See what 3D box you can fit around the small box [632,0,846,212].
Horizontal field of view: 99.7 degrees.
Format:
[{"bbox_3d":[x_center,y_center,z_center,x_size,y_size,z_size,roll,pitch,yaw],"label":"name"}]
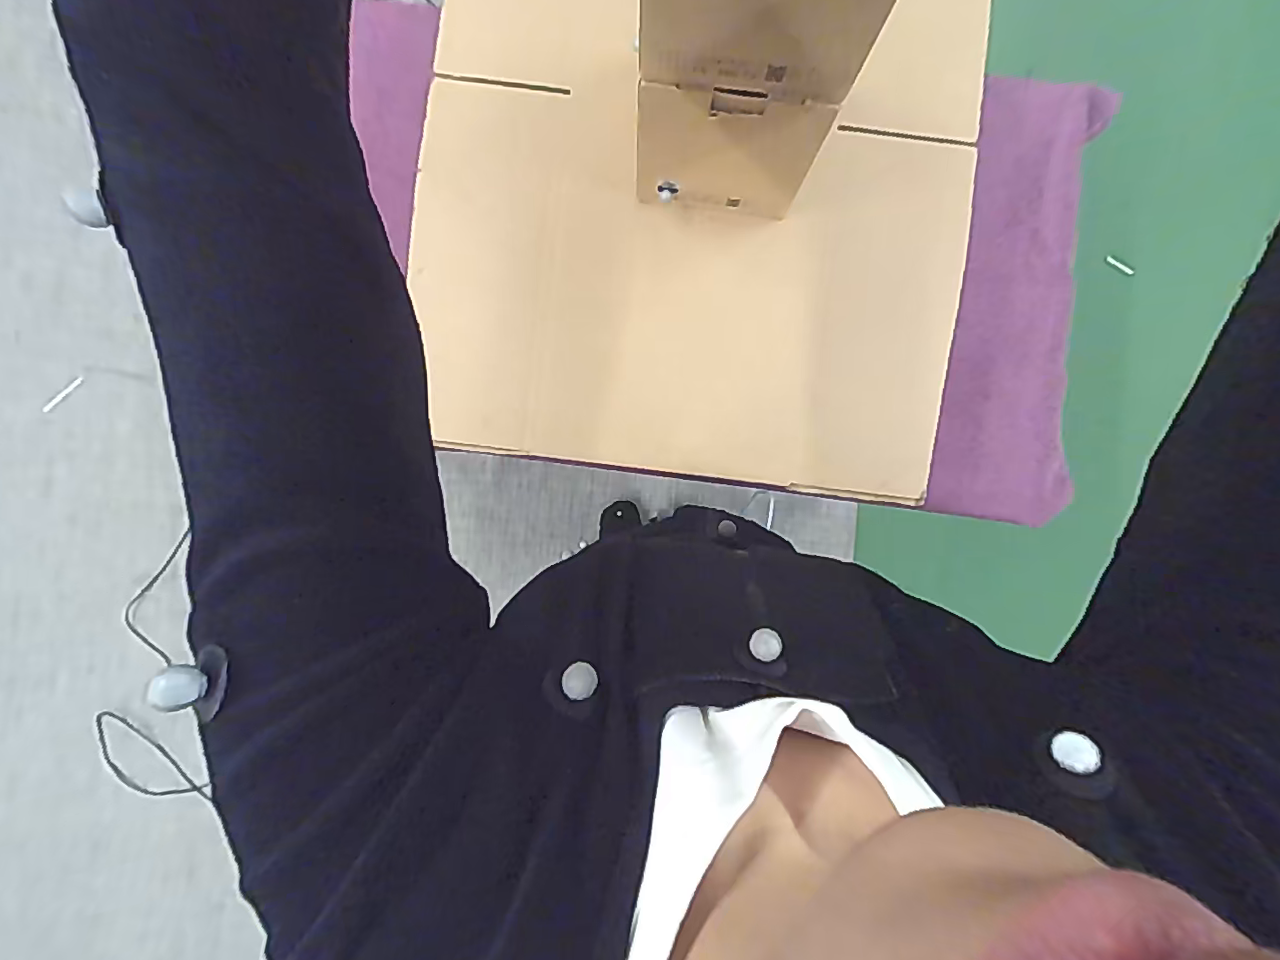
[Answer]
[{"bbox_3d":[0.085,-0.388,0.517,0.168,0.176,0.179,7,86,-1],"label":"small box"}]
